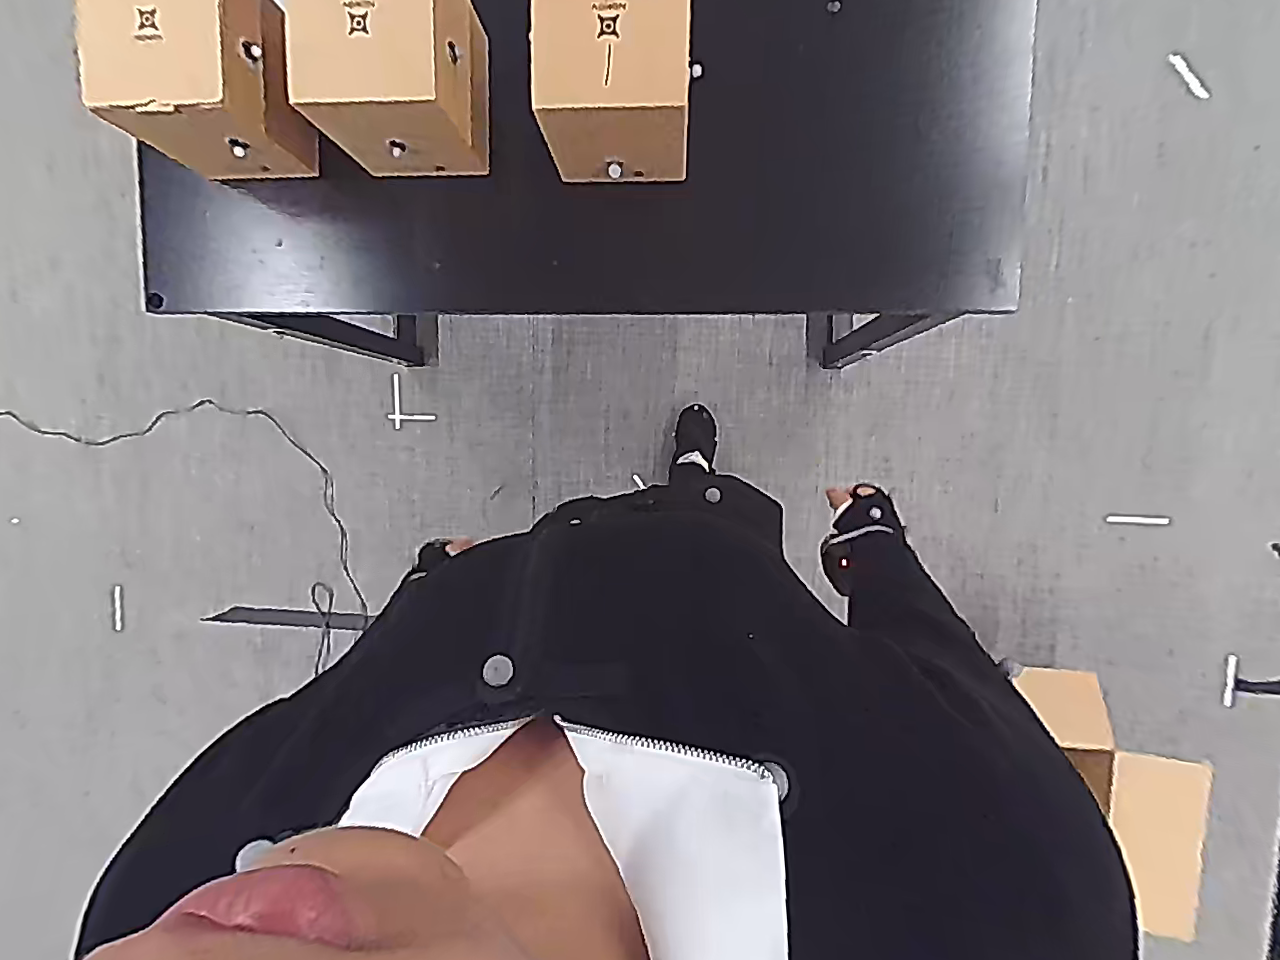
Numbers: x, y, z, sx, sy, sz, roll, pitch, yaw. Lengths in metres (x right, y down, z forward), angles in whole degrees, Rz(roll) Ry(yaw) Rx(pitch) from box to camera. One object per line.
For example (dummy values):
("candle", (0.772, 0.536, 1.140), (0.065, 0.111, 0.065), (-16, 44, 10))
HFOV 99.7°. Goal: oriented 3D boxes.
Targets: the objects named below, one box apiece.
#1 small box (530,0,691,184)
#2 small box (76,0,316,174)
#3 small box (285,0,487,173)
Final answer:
("small box", (-0.027, -0.478, 0.636), (0.168, 0.176, 0.179), (2, 95, 4))
("small box", (-0.530, -0.502, 0.668), (0.168, 0.176, 0.179), (0, 93, 2))
("small box", (-0.290, -0.495, 0.651), (0.168, 0.176, 0.179), (2, 94, 3))
